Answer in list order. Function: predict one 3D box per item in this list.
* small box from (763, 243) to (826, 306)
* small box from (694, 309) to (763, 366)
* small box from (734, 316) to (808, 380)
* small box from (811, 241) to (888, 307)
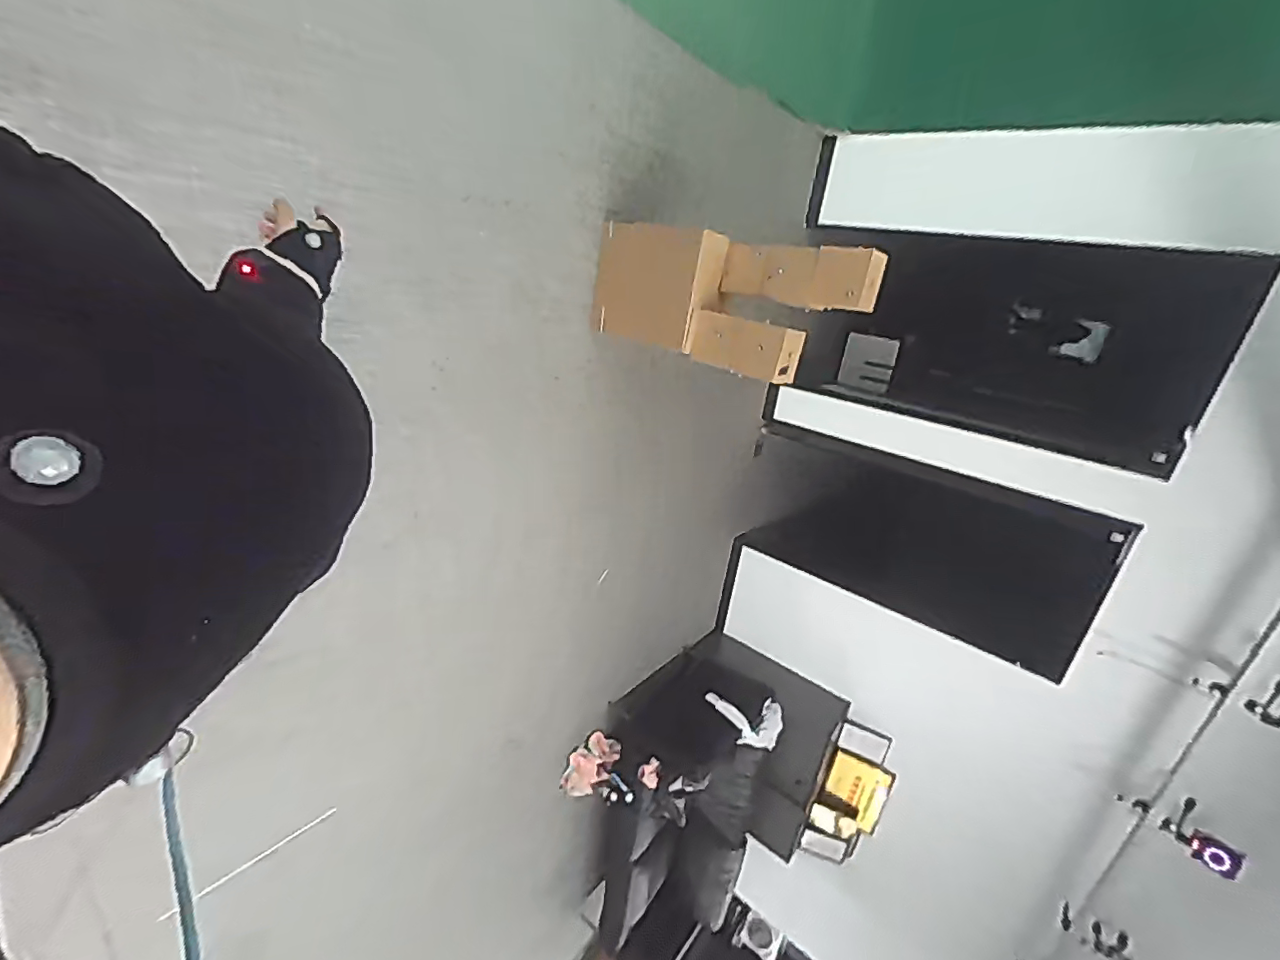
[{"bbox_3d":[0.543,-0.697,1.829,0.179,0.176,0.168,-8,114,-52],"label":"small box"},{"bbox_3d":[0.311,-0.502,1.913,0.168,0.176,0.179,-11,117,-49],"label":"small box"},{"bbox_3d":[0.436,-0.444,1.824,0.168,0.176,0.179,-11,117,-51],"label":"small box"},{"bbox_3d":[0.668,-0.659,1.731,0.168,0.176,0.179,-16,121,-49],"label":"small box"}]
